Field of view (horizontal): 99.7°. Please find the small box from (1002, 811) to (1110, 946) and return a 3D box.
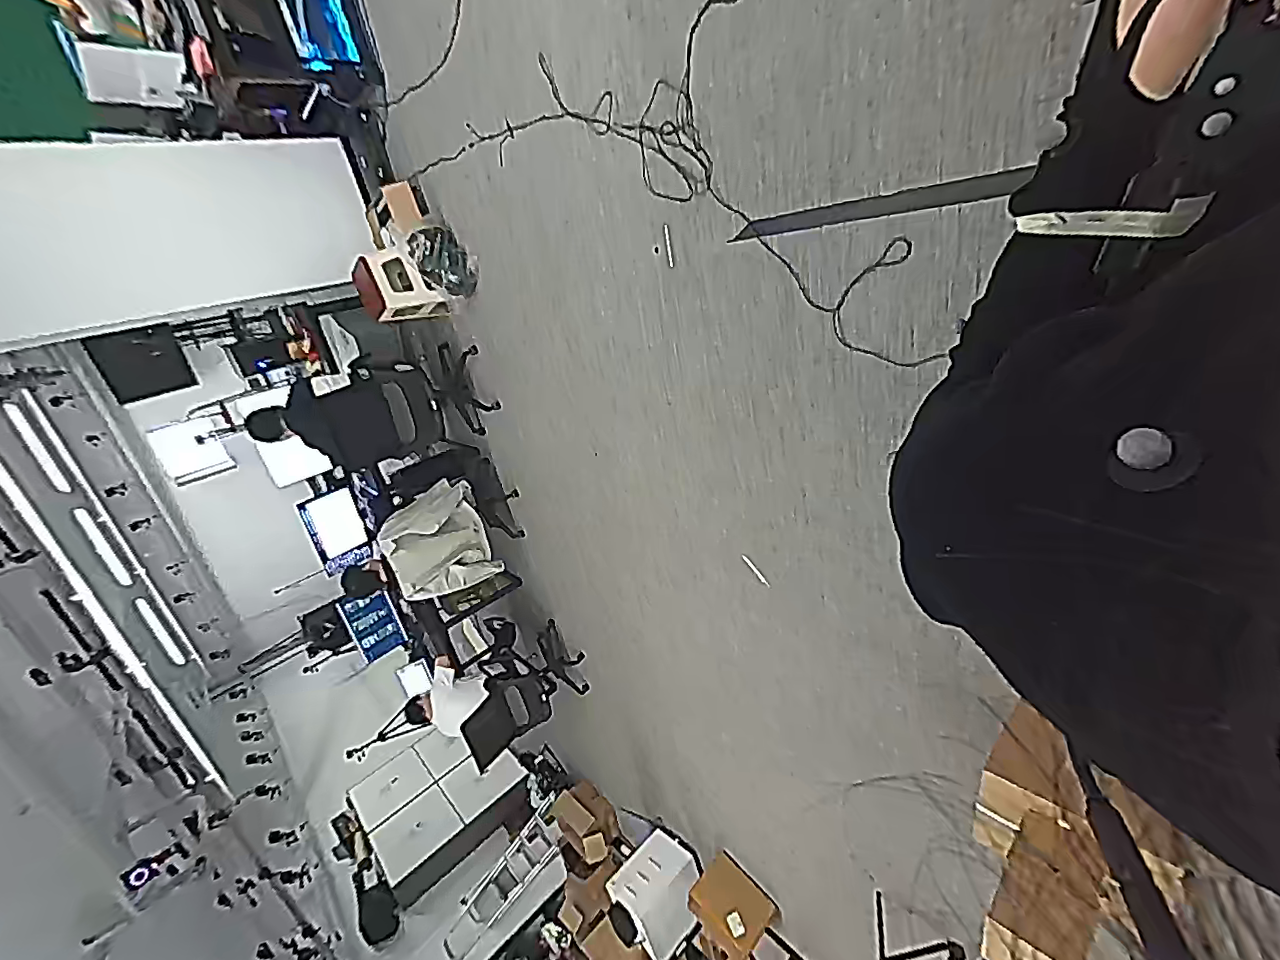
[{"bbox_3d":[1.030,0.973,1.338,0.179,0.176,0.168,14,122,48],"label":"small box"}]
